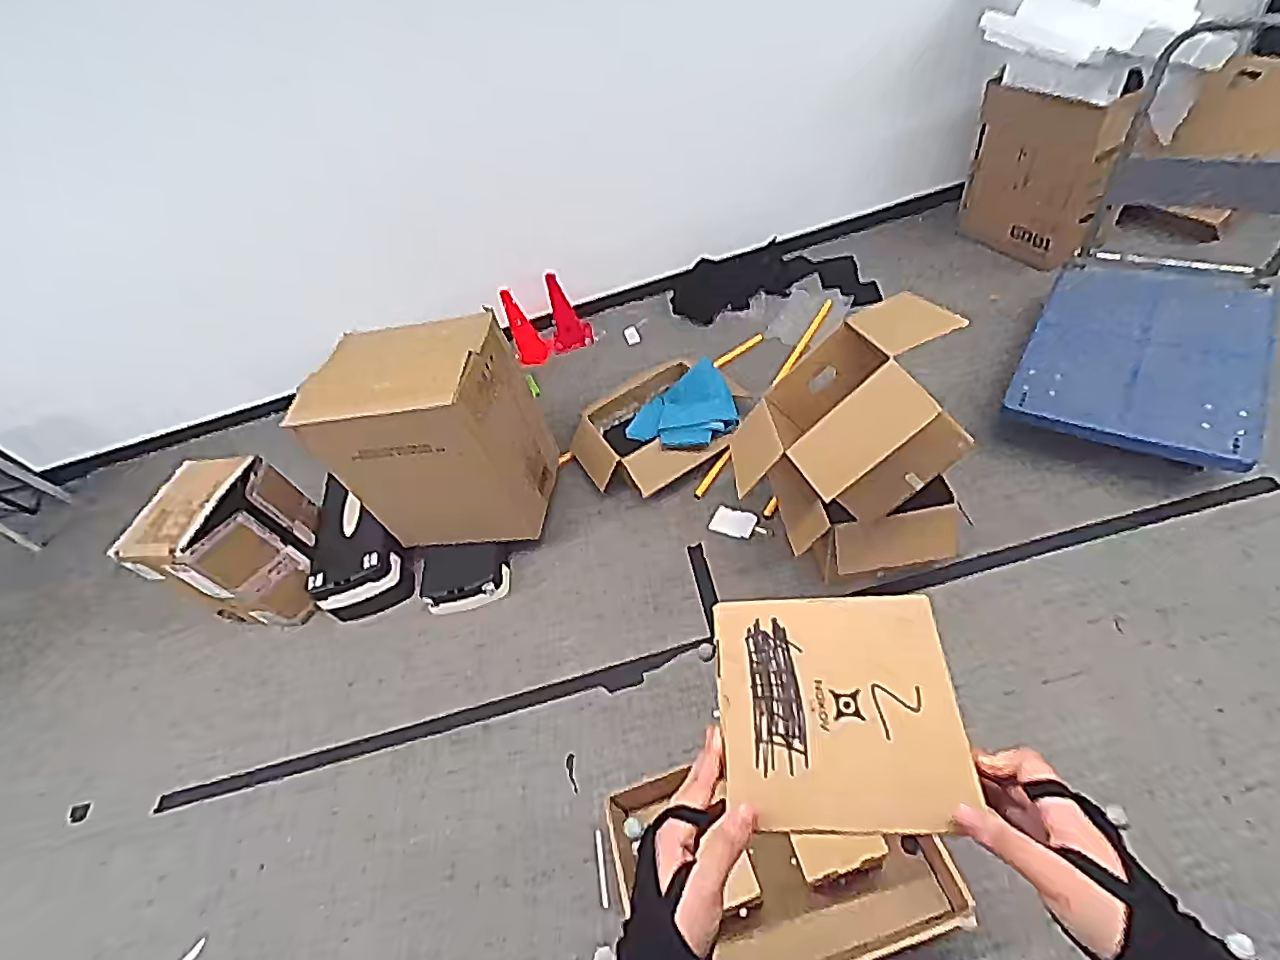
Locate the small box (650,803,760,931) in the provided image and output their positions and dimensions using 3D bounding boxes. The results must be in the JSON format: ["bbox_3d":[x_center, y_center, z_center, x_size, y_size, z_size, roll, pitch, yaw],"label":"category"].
[{"bbox_3d":[0.137,0.801,1.117,0.179,0.176,0.168,-20,47,-3],"label":"small box"}]

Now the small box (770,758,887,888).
[{"bbox_3d":[0.381,0.714,1.122,0.168,0.176,0.179,-20,48,0],"label":"small box"}]
